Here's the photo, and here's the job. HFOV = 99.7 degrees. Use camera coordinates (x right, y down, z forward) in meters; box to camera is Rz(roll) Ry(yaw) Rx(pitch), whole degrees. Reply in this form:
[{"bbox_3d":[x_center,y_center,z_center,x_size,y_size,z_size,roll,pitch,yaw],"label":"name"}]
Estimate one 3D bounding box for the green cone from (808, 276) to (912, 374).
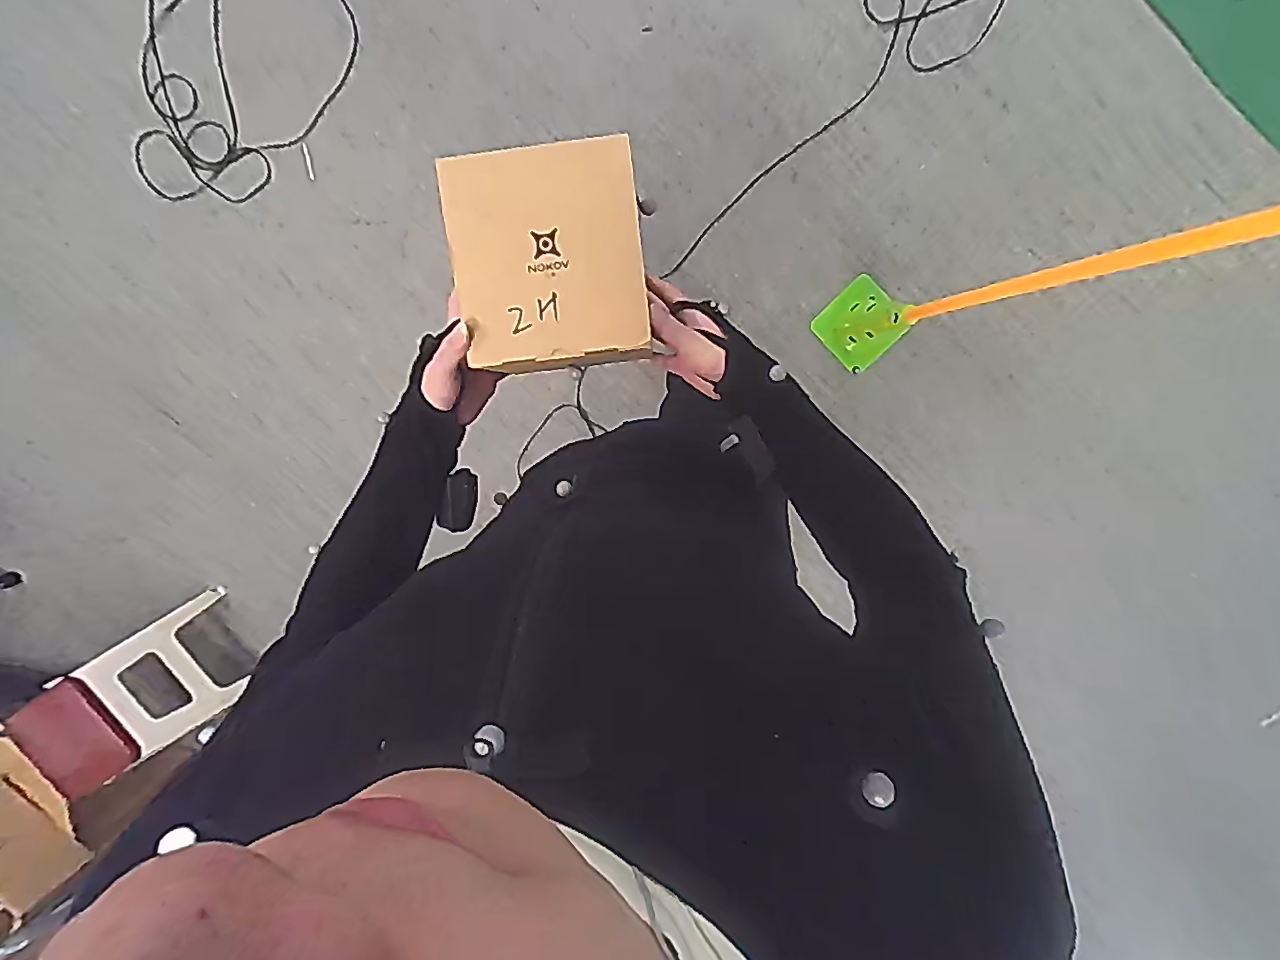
[{"bbox_3d":[0.579,-0.389,1.315,0.202,0.368,0.200,45,102,-4],"label":"green cone"}]
